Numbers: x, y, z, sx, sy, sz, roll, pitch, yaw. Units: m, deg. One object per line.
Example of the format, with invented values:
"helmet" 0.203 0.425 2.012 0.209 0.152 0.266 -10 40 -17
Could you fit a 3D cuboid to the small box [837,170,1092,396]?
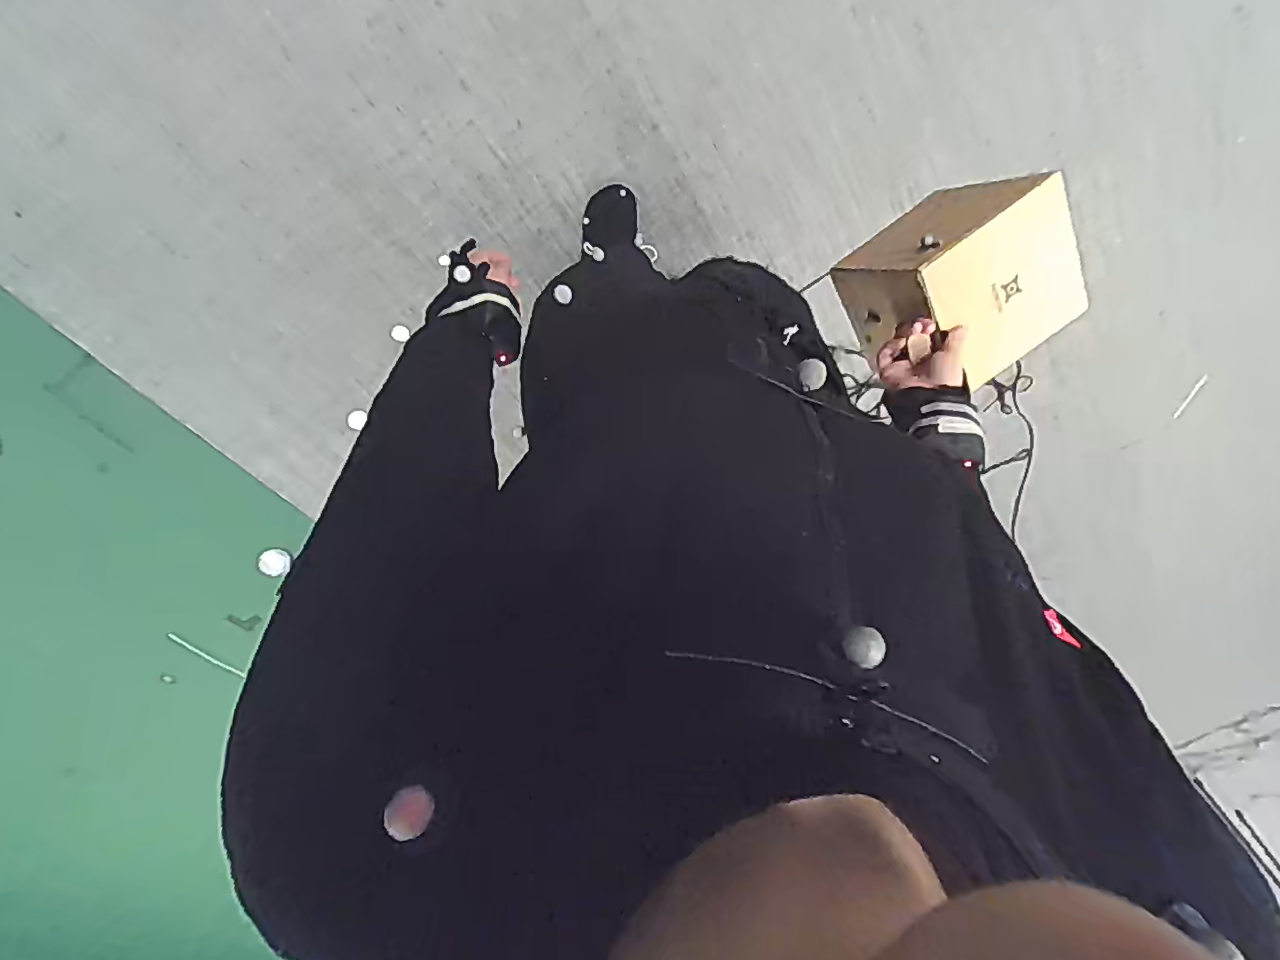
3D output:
"small box" 0.373 -0.231 0.641 0.179 0.176 0.168 -36 116 2
